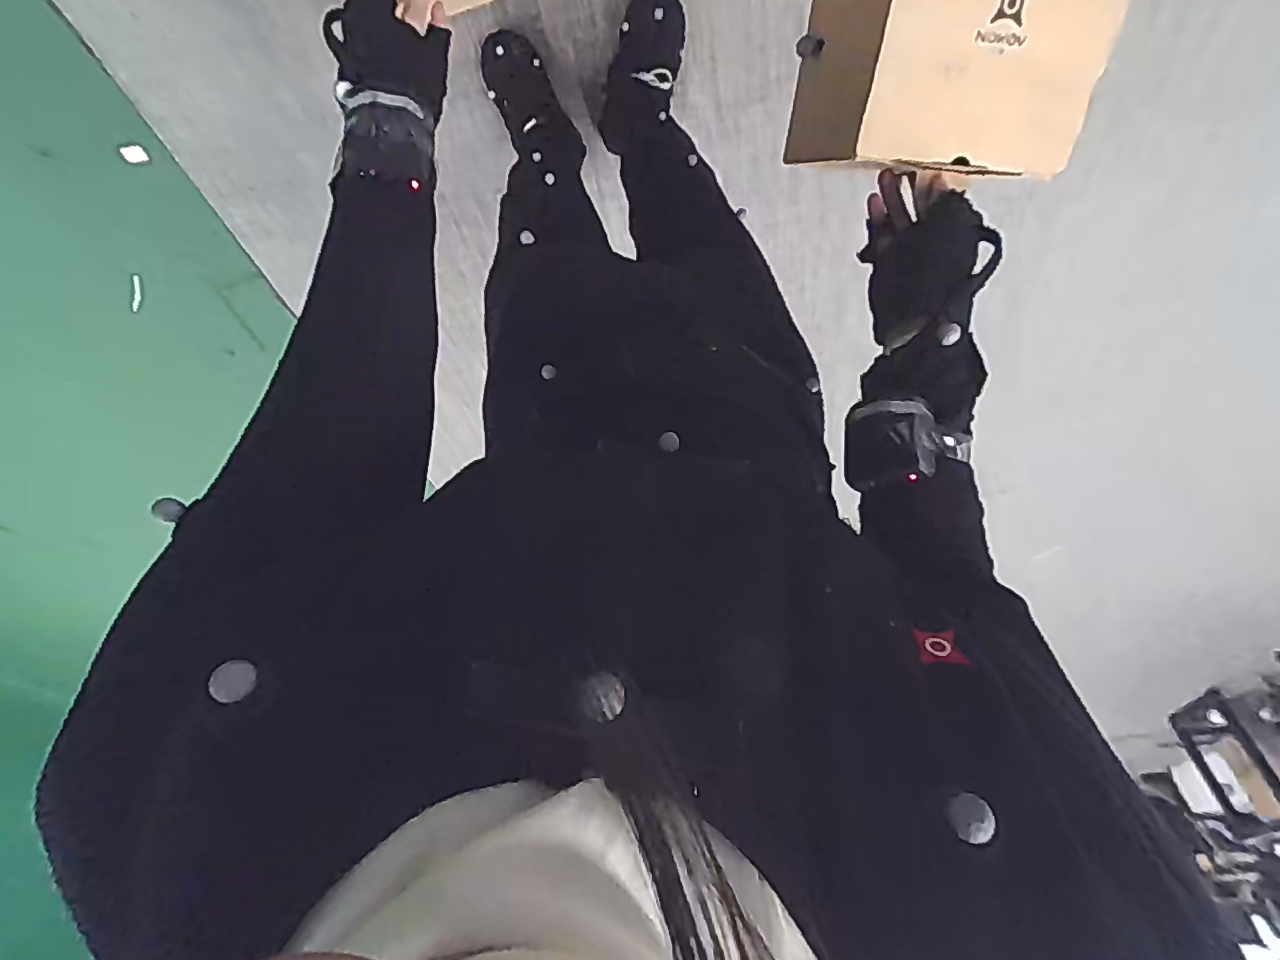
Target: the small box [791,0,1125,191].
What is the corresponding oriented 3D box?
[{"bbox_3d":[0.237,-0.343,0.438,0.168,0.176,0.179,2,119,-6],"label":"small box"}]
